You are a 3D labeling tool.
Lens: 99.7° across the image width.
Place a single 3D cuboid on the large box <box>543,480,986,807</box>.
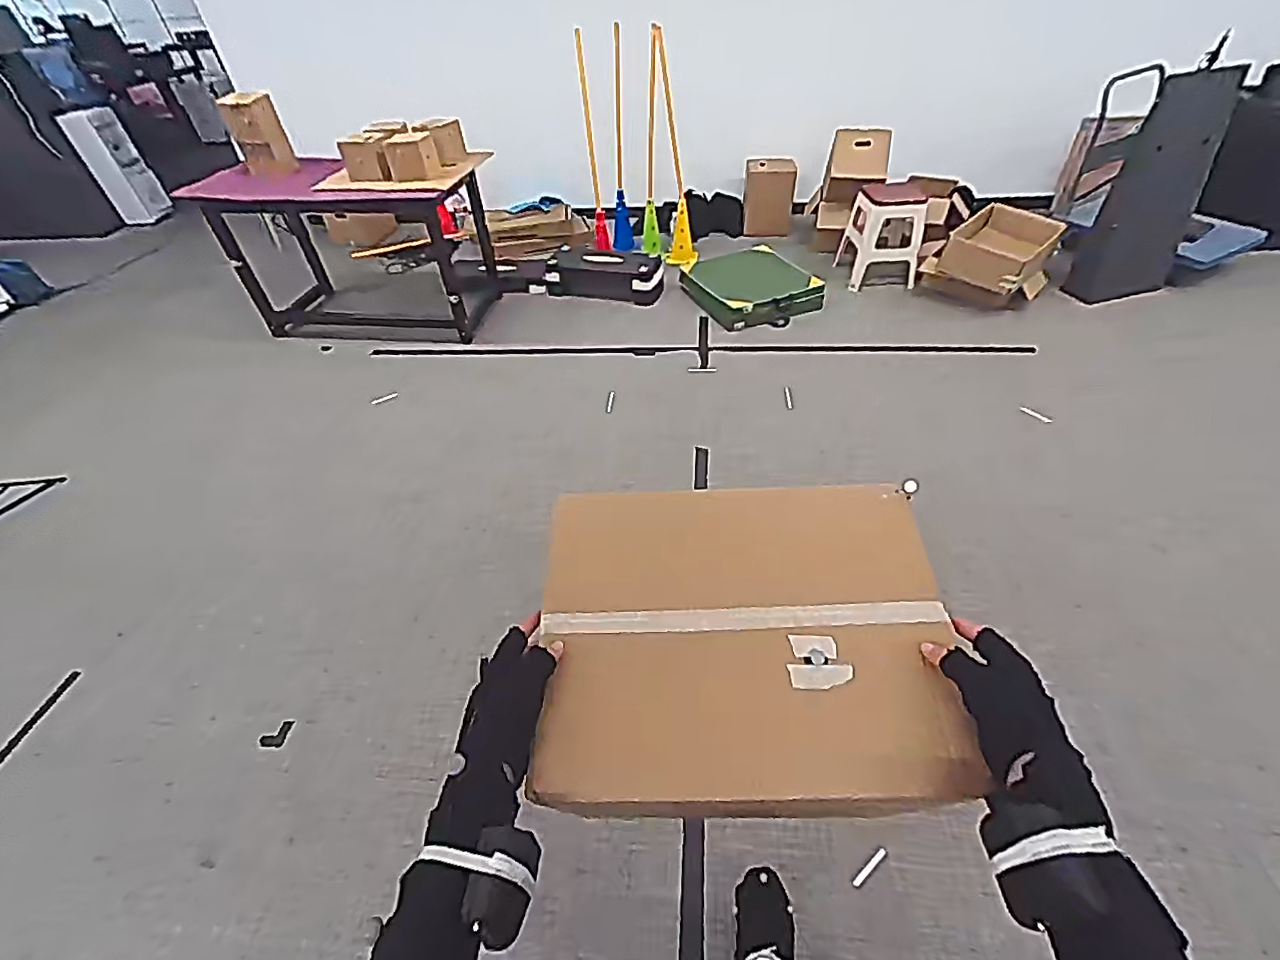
[{"bbox_3d":[0.111,0.218,0.684,0.408,0.320,0.320,-2,56,2],"label":"large box"}]
